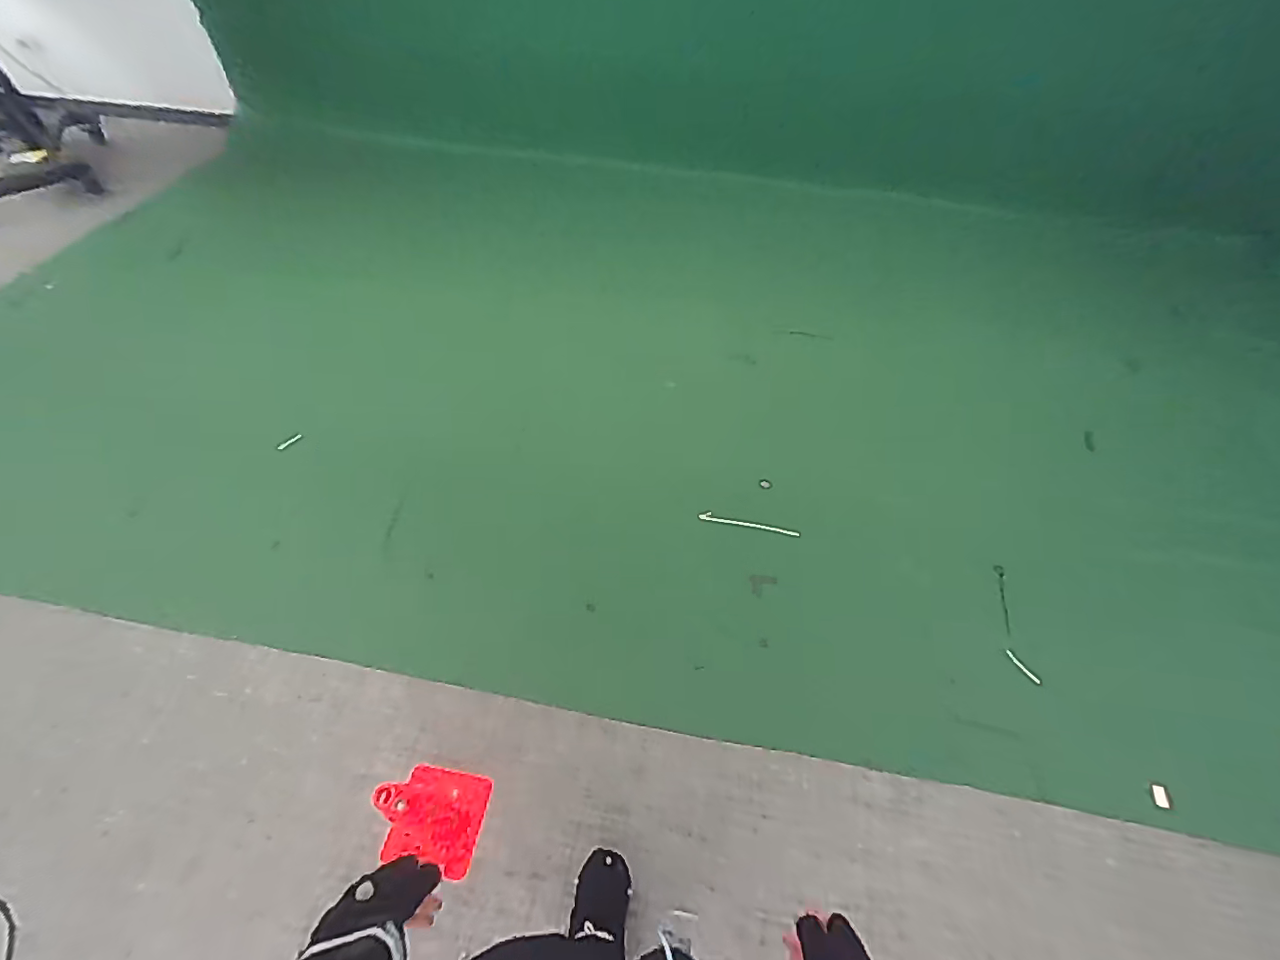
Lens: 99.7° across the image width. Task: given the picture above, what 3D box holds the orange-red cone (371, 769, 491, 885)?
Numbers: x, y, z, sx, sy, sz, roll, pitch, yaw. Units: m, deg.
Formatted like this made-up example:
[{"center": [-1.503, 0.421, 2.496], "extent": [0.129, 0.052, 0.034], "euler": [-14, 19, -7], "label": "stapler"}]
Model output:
[{"center": [-0.453, 0.673, 1.085], "extent": [0.198, 0.360, 0.199], "euler": [9, 53, 6], "label": "orange-red cone"}]
